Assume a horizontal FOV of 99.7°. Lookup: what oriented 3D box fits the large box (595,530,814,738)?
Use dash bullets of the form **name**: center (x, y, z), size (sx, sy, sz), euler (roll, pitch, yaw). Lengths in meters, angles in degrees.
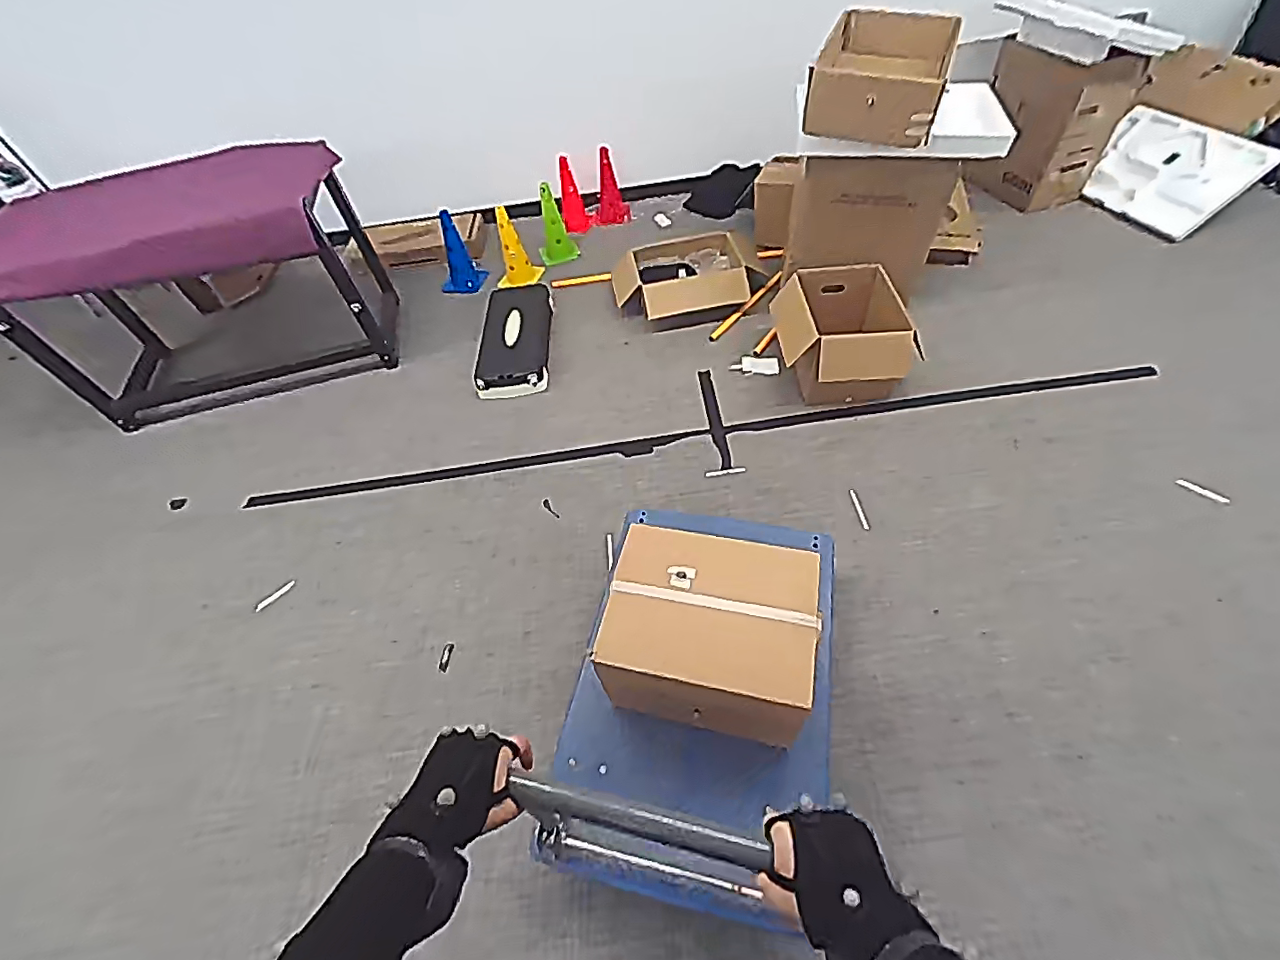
- **large box**: center (0.156, 0.341, 1.194), size (0.408, 0.320, 0.320), euler (7, 53, 13)
